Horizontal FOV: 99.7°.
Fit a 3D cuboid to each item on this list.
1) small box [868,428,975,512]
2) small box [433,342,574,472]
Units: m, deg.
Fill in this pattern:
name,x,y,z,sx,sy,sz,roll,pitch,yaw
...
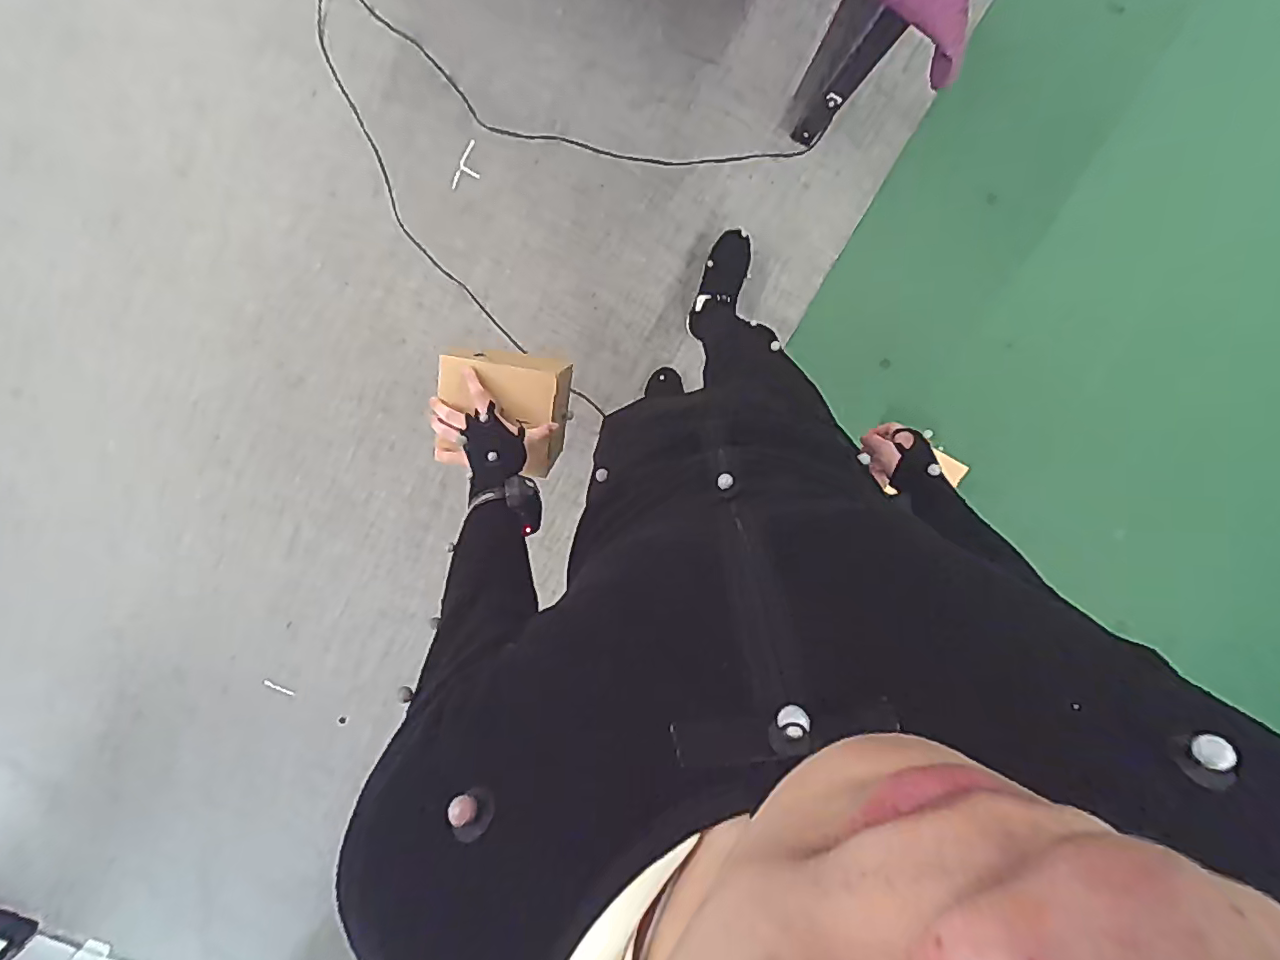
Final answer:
name,x,y,z,sx,sy,sz,roll,pitch,yaw
small box,0.790,-0.037,1.539,0.179,0.176,0.168,27,103,-7
small box,-0.215,-0.127,0.880,0.179,0.176,0.168,9,109,-1
